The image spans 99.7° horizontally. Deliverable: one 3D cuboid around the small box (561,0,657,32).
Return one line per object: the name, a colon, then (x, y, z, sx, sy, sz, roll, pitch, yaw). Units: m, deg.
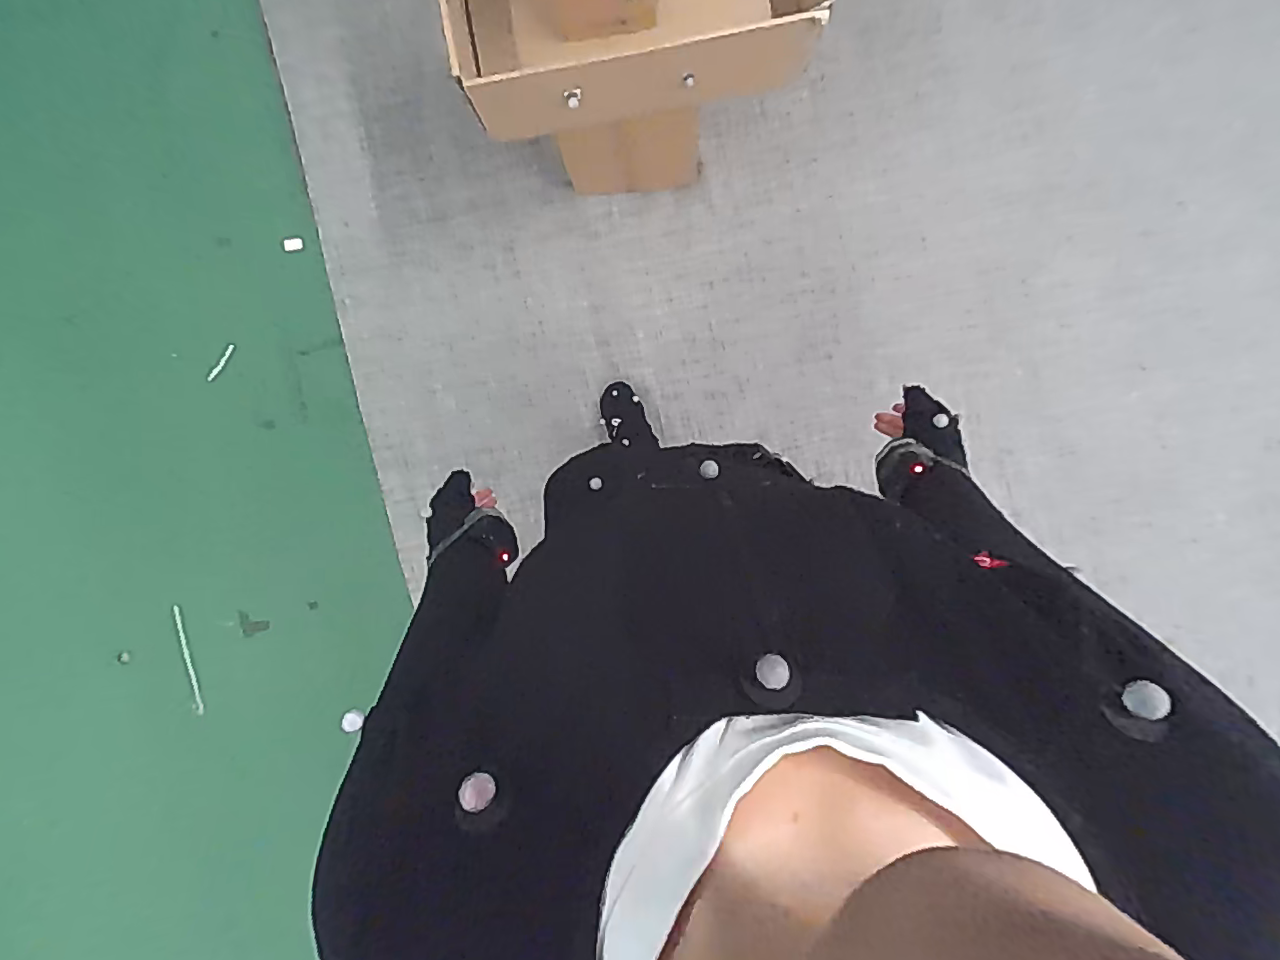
small box: (-0.062, -0.893, 0.897, 0.168, 0.176, 0.179, -10, 92, -1)
